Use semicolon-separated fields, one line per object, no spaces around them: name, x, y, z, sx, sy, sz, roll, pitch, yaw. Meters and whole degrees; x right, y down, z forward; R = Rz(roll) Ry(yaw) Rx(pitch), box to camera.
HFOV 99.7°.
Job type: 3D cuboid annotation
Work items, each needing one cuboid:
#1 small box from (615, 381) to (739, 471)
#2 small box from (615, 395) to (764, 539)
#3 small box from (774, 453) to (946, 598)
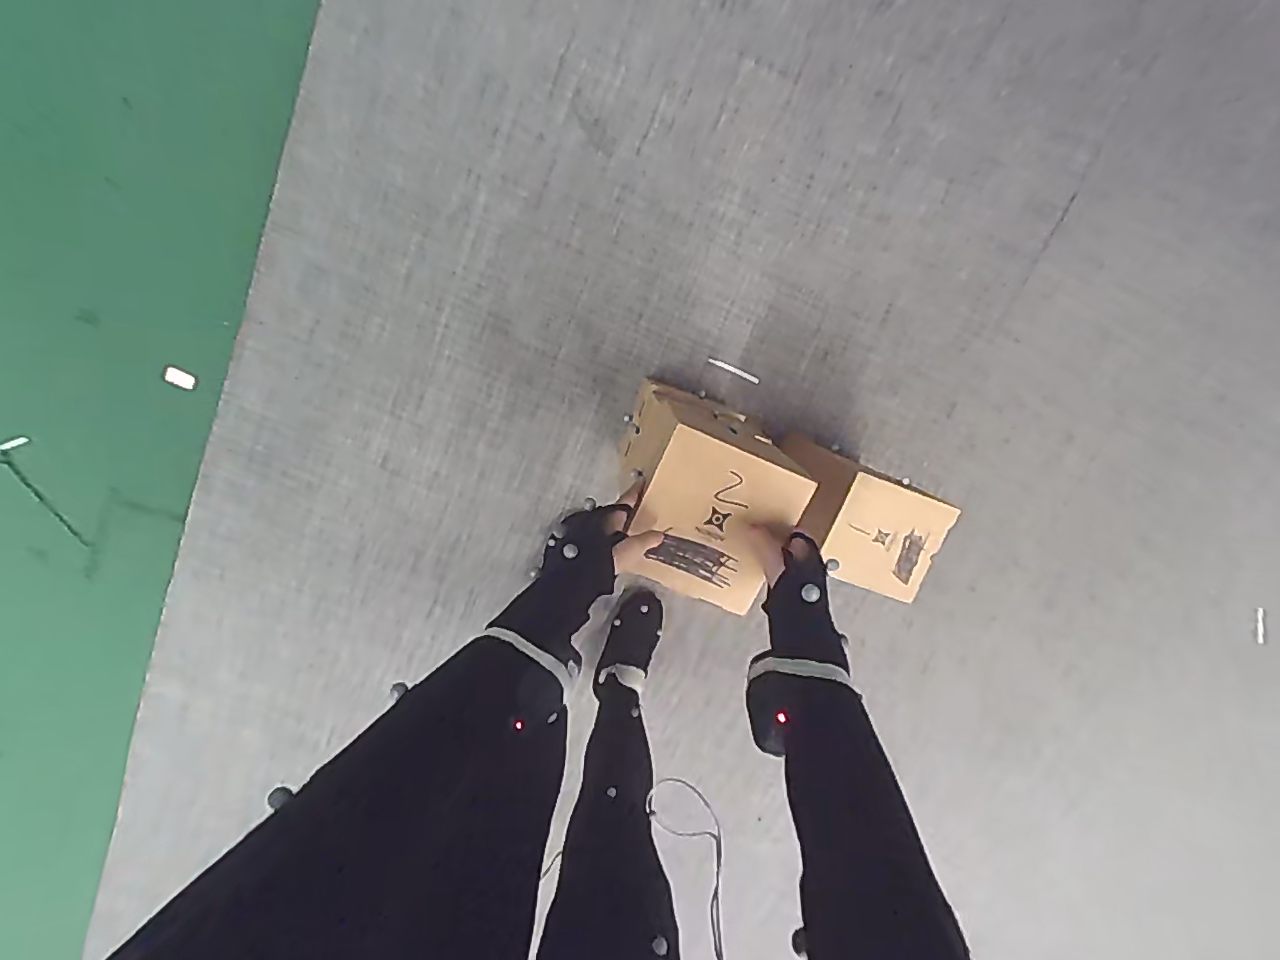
small box;0.060;-0.081;1.017;0.179;0.176;0.168;19;102;-7
small box;0.068;-0.030;0.862;0.179;0.176;0.168;19;102;-7
small box;0.352;0.066;0.902;0.179;0.176;0.168;20;101;-8
